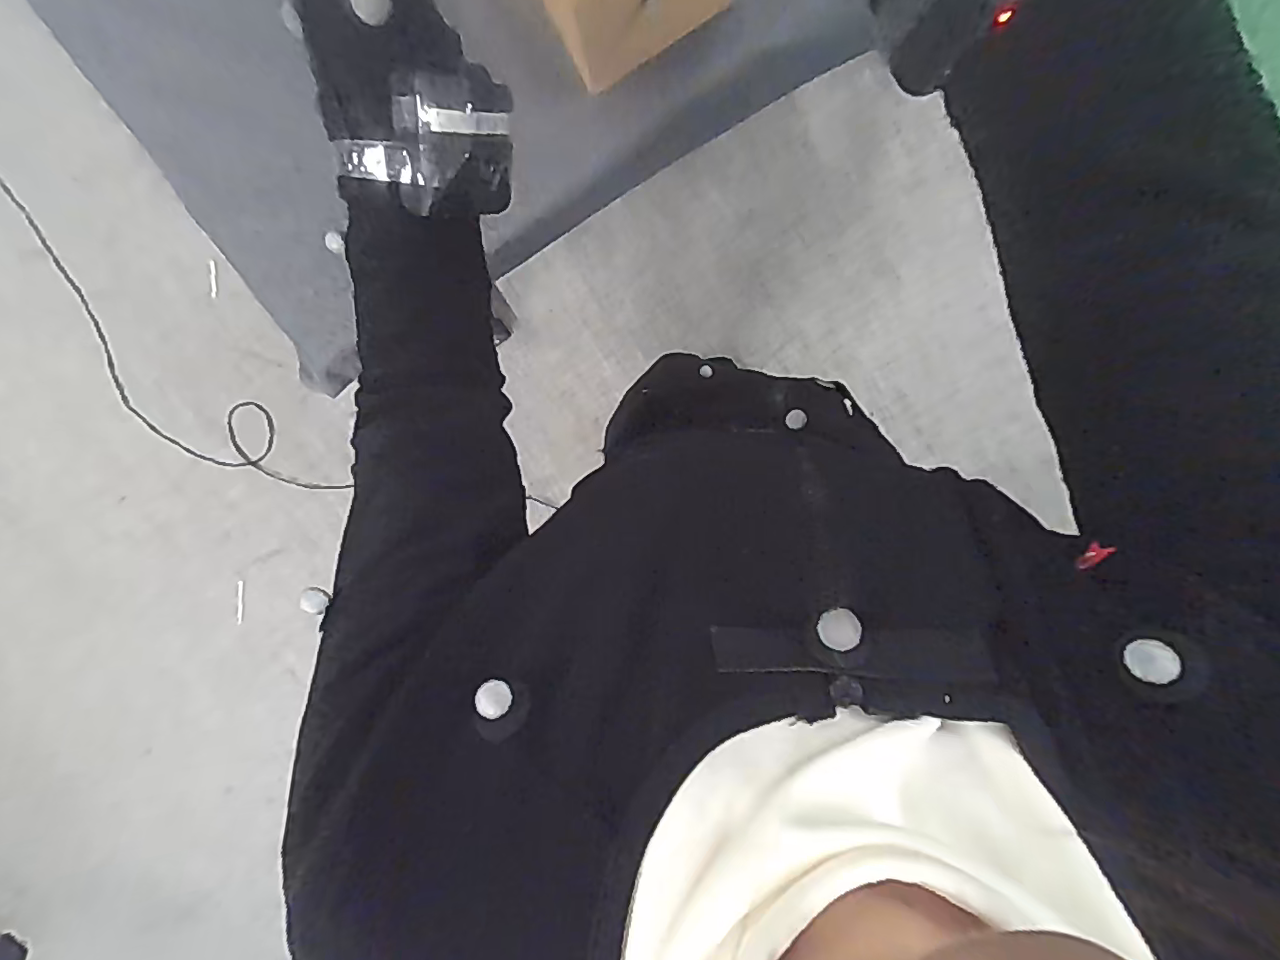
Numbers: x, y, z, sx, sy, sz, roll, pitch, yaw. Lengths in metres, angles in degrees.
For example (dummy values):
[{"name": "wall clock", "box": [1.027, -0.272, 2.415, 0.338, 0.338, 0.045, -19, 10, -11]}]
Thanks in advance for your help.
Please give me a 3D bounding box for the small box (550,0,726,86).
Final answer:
[{"name": "small box", "box": [-0.017, -0.508, 0.483, 0.179, 0.176, 0.168, -28, 100, 10]}]
